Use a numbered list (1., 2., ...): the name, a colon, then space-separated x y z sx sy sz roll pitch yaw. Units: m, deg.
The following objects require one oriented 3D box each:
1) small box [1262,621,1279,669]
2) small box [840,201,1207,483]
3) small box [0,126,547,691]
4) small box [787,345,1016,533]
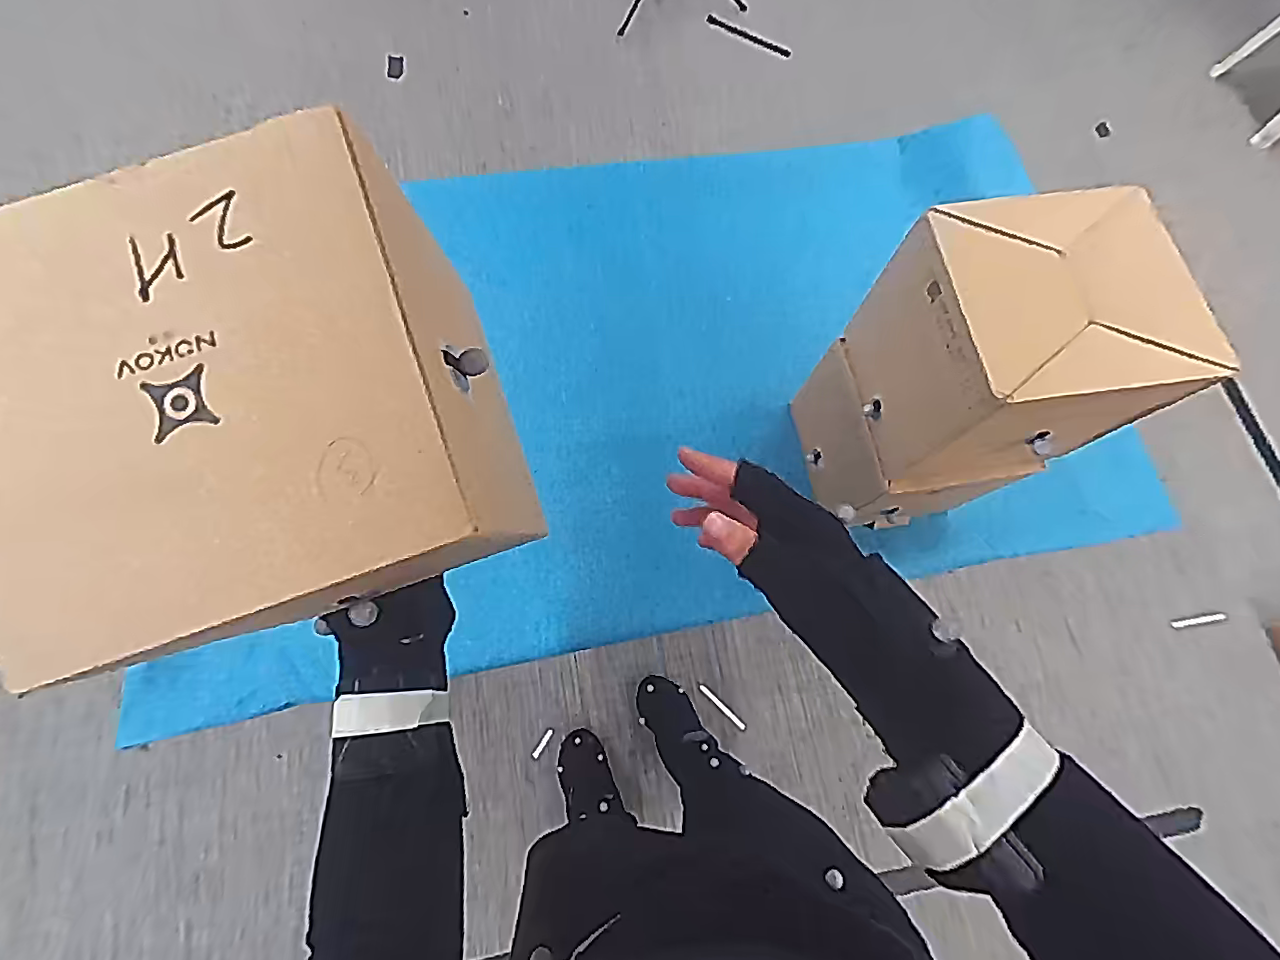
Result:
1. small box: 1.718 0.429 1.323 0.168 0.176 0.179 -6 73 -6
2. small box: 0.305 -0.109 0.467 0.179 0.176 0.168 -8 71 -3
3. small box: -0.159 -0.025 0.280 0.168 0.176 0.179 -18 87 -1
4. small box: 0.291 -0.053 0.620 0.168 0.176 0.179 -9 73 -6
